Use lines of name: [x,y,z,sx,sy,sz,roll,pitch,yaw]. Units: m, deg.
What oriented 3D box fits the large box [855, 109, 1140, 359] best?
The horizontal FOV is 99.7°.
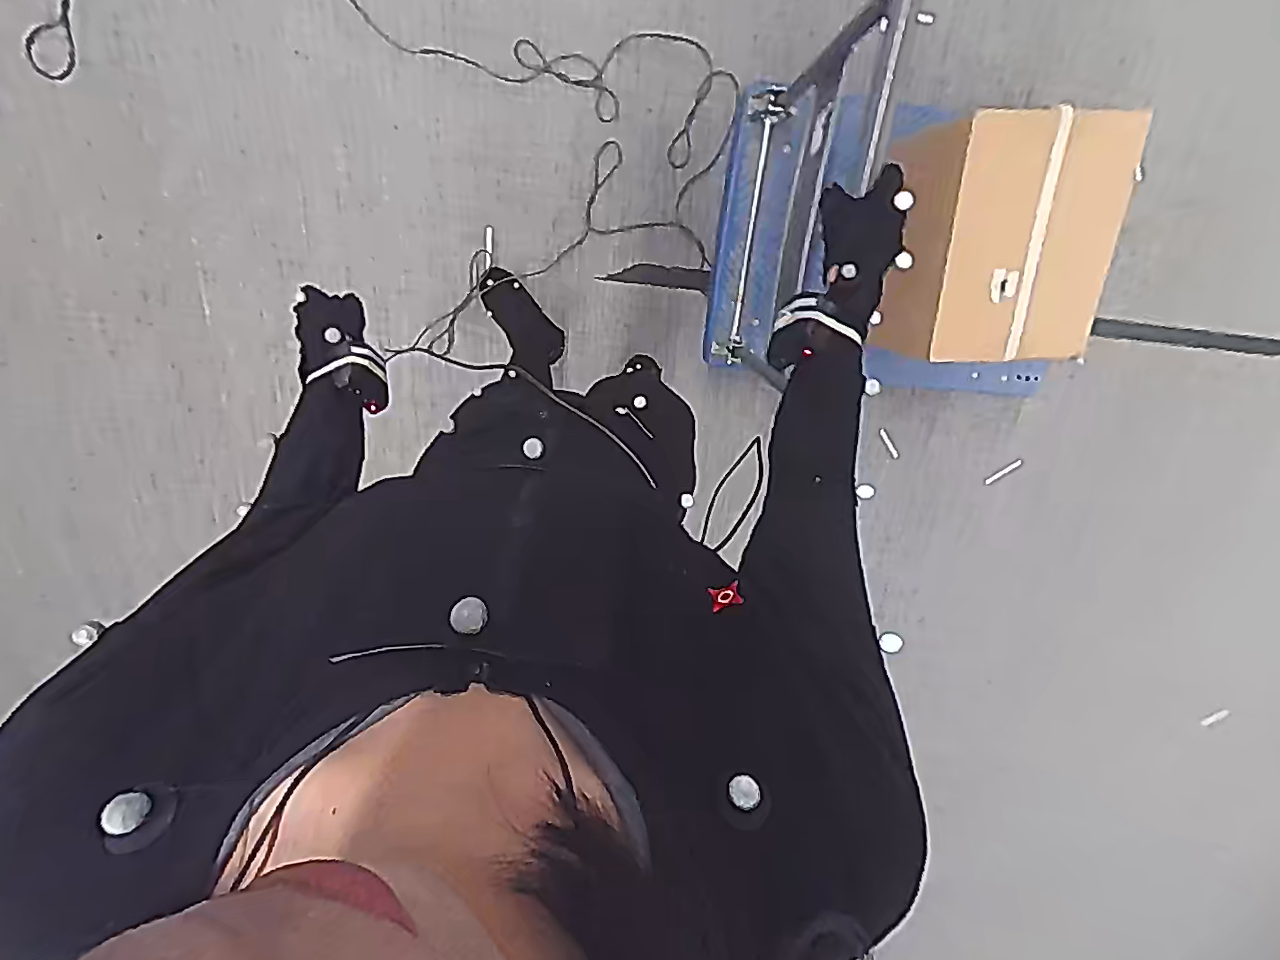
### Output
large box: [0.670,-0.478,1.092,0.320,0.320,0.408,-3,113,-4]
